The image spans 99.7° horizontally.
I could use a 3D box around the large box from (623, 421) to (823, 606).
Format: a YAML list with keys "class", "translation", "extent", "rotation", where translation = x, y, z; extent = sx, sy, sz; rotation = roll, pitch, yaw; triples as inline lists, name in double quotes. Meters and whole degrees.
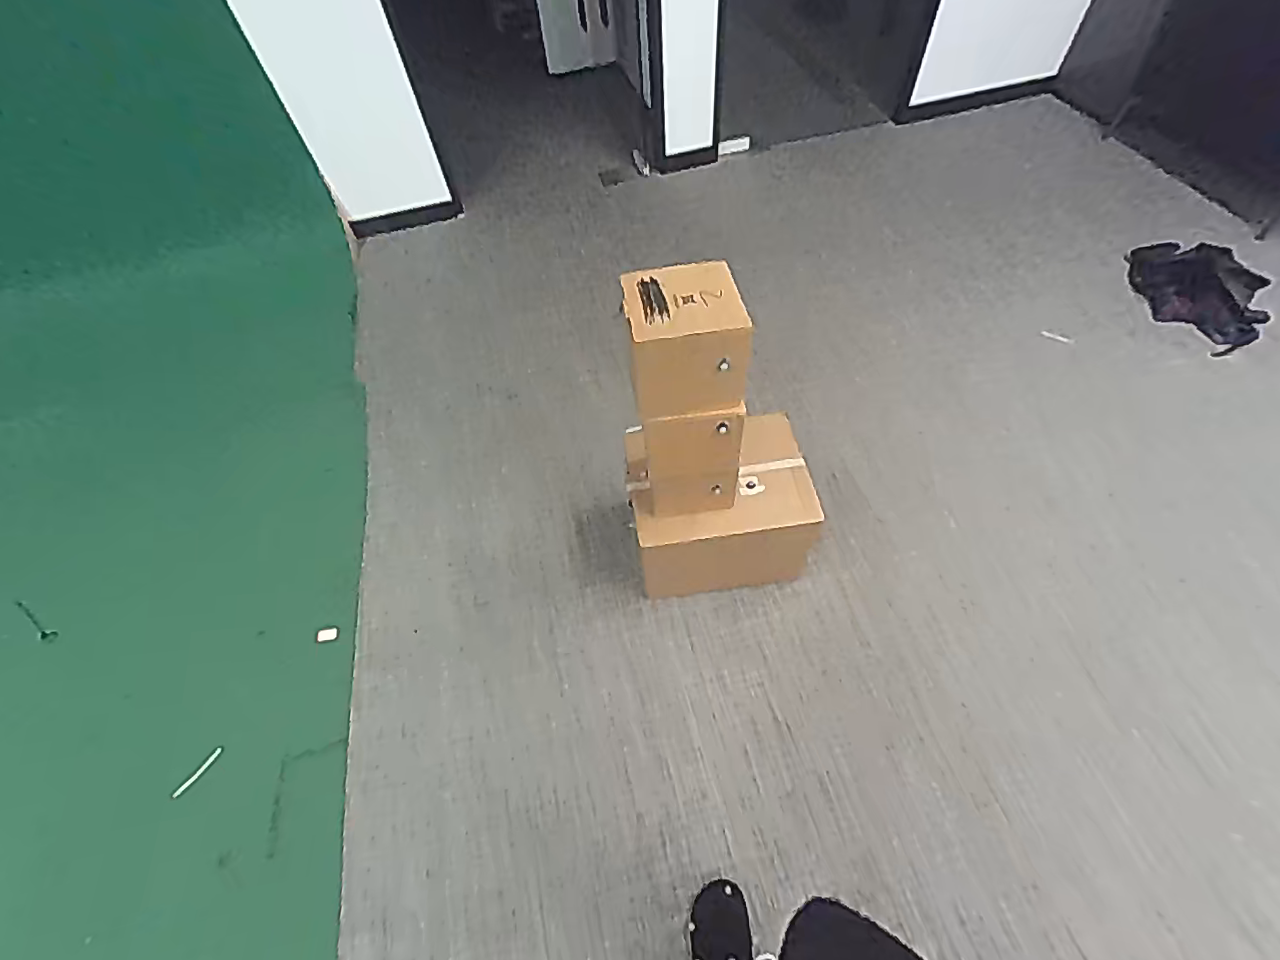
- class: "large box"
  translation: [0.182, 0.092, 1.353]
  extent: [0.408, 0.320, 0.320]
  rotation: [-8, 57, -3]

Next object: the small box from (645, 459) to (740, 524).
- class: "small box"
  translation: [0.102, -0.024, 1.145]
  extent: [0.179, 0.176, 0.168]
  rotation: [-9, 54, -1]

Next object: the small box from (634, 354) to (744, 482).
- class: "small box"
  translation: [0.087, -0.110, 1.007]
  extent: [0.179, 0.176, 0.168]
  rotation: [-6, 54, -1]
